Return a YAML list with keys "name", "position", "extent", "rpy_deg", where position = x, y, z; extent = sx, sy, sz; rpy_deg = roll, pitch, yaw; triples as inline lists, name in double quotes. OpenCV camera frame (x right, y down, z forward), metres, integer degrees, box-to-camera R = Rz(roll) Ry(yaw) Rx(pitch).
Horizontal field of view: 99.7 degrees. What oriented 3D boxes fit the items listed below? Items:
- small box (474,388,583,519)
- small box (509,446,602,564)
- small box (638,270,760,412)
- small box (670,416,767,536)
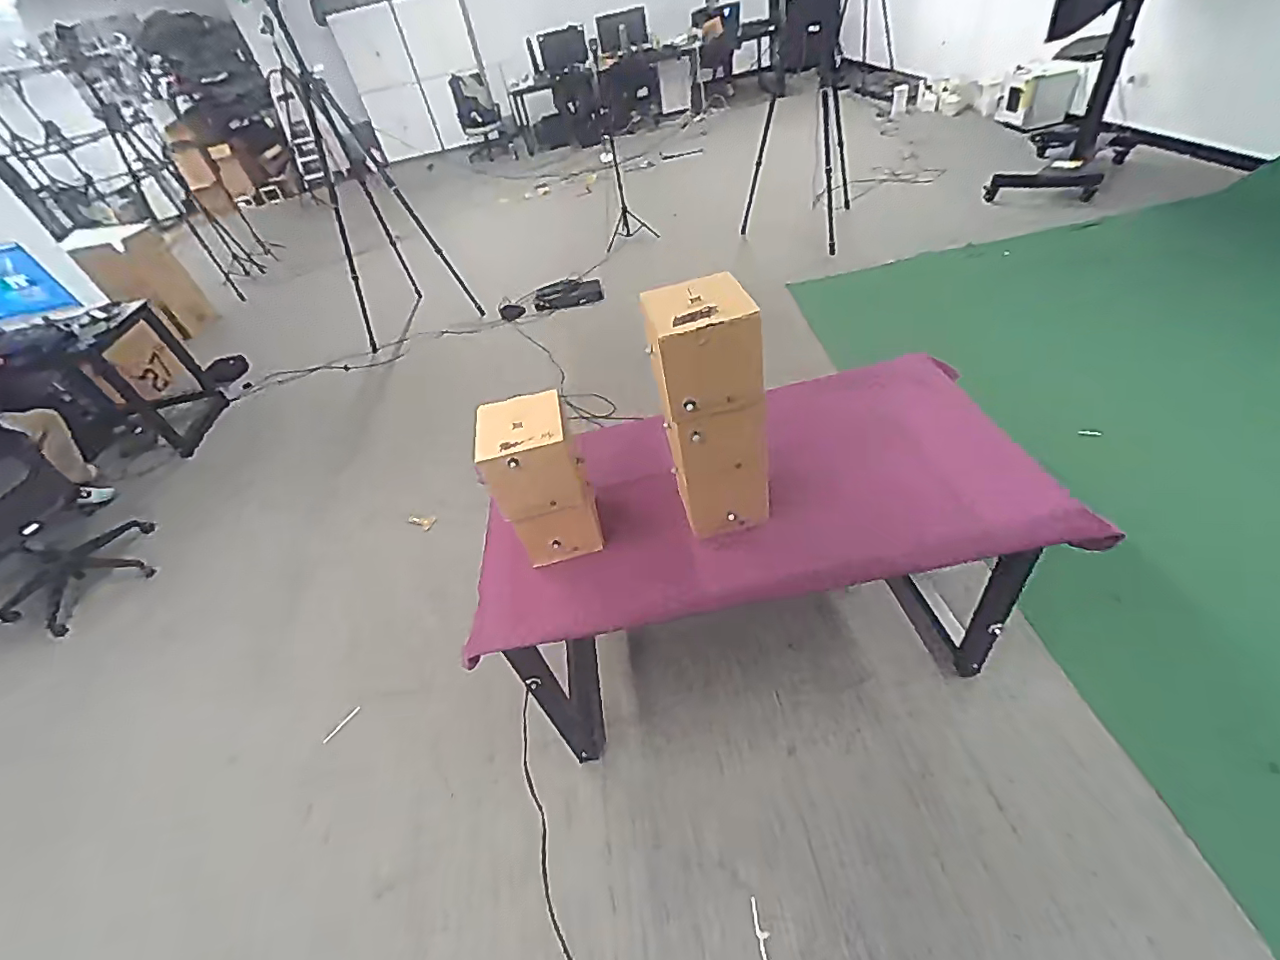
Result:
- name: "small box"
  position: [-0.217, -0.052, 1.076]
  extent: [0.168, 0.176, 0.179]
  rpy_deg: [-14, 43, 0]
- name: "small box"
  position: [-0.189, 0.055, 1.197]
  extent: [0.168, 0.176, 0.179]
  rpy_deg: [-16, 43, -2]
- name: "small box"
  position: [0.103, -0.235, 0.938]
  extent: [0.168, 0.176, 0.179]
  rpy_deg: [-14, 41, 0]
- name: "small box"
  position: [0.168, -0.009, 1.167]
  extent: [0.168, 0.176, 0.179]
  rpy_deg: [-14, 43, 1]
